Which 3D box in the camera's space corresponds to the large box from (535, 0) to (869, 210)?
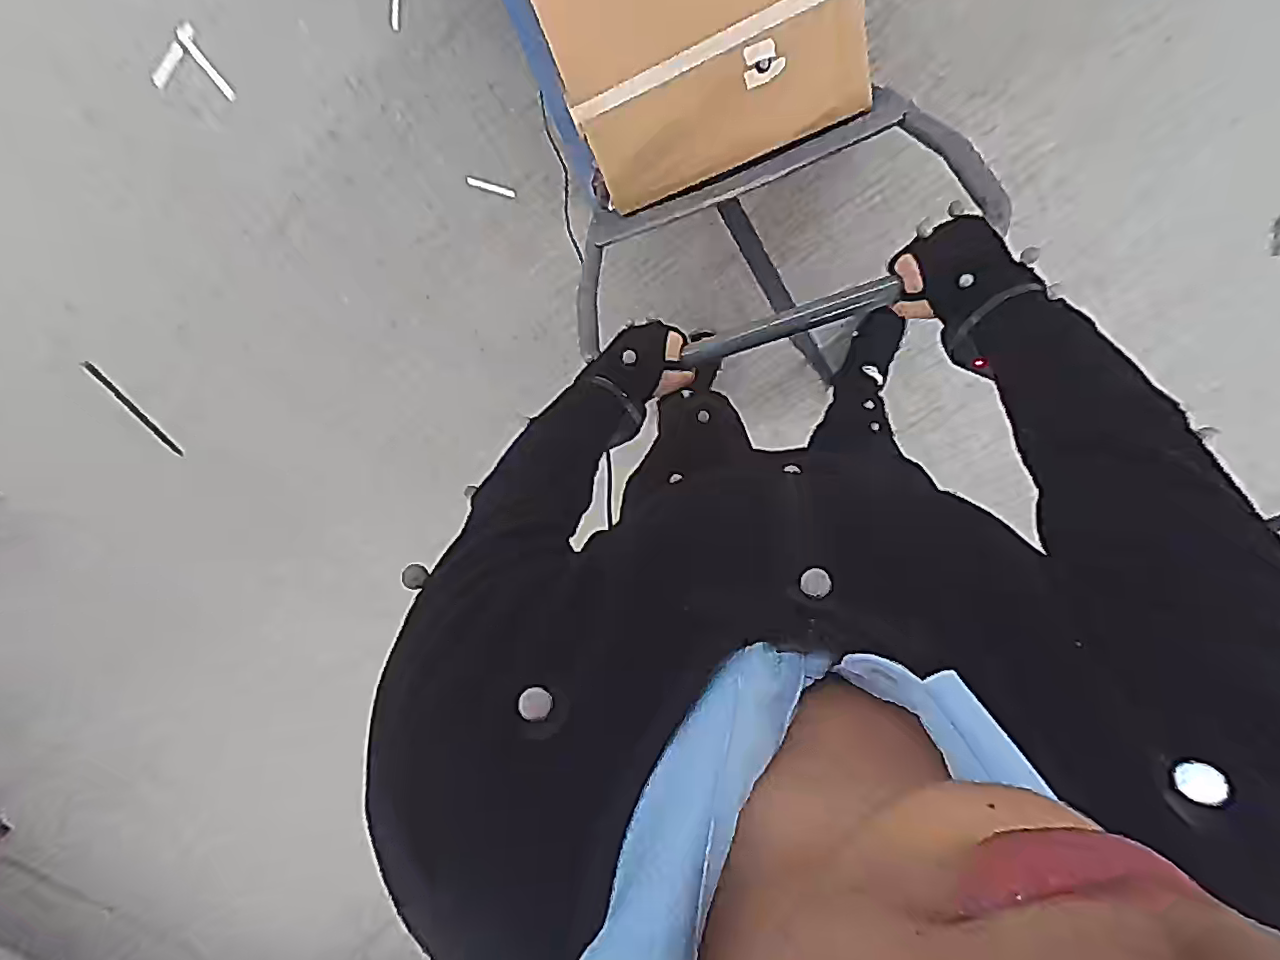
[{"bbox_3d":[0.097,-0.707,0.869,0.408,0.320,0.320,-17,129,16],"label":"large box"}]
